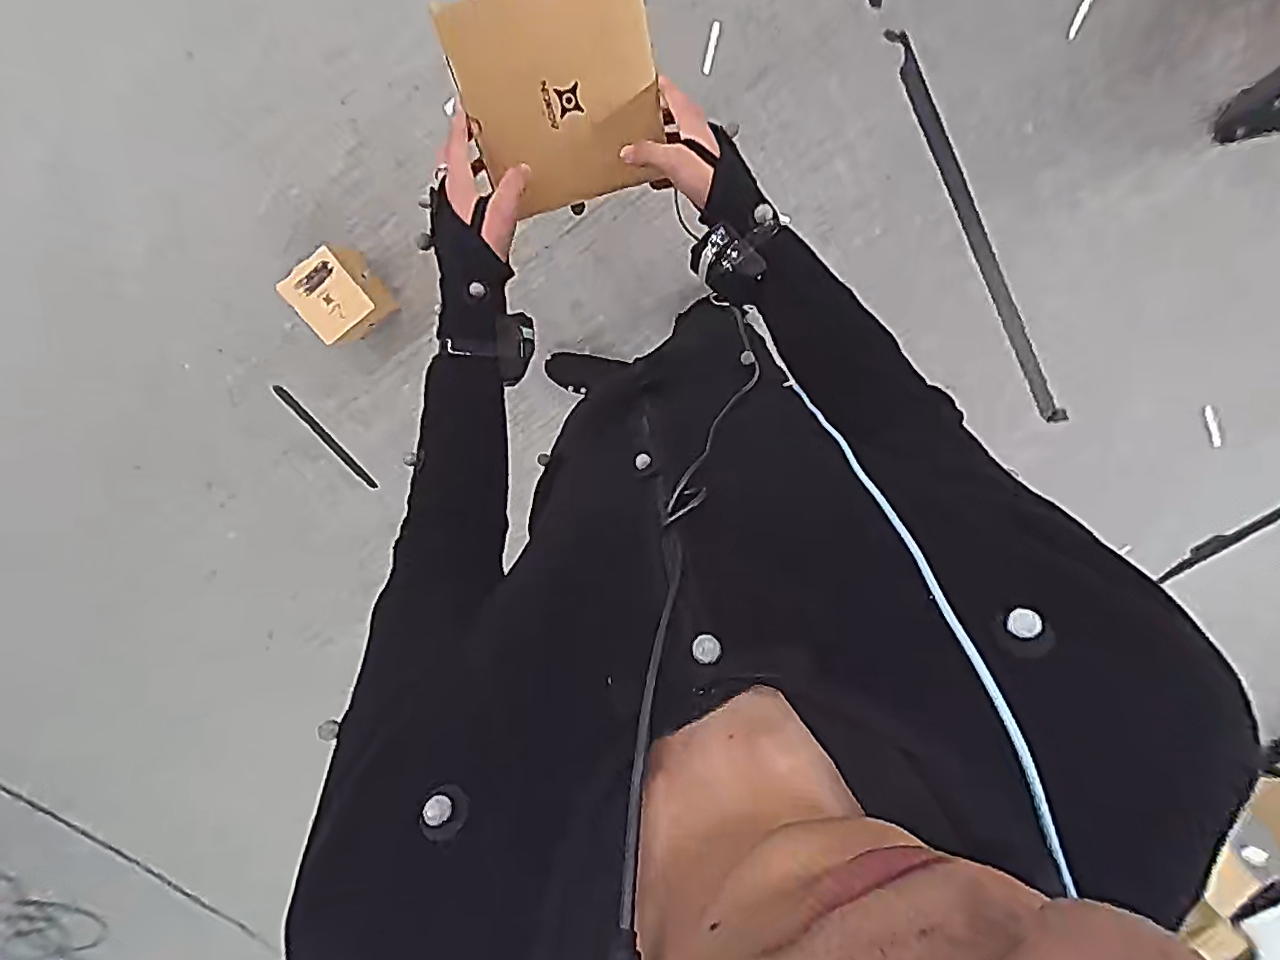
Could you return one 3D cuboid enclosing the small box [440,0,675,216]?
[{"bbox_3d":[-0.081,-0.387,0.539,0.179,0.176,0.168,-17,129,-3],"label":"small box"}]
